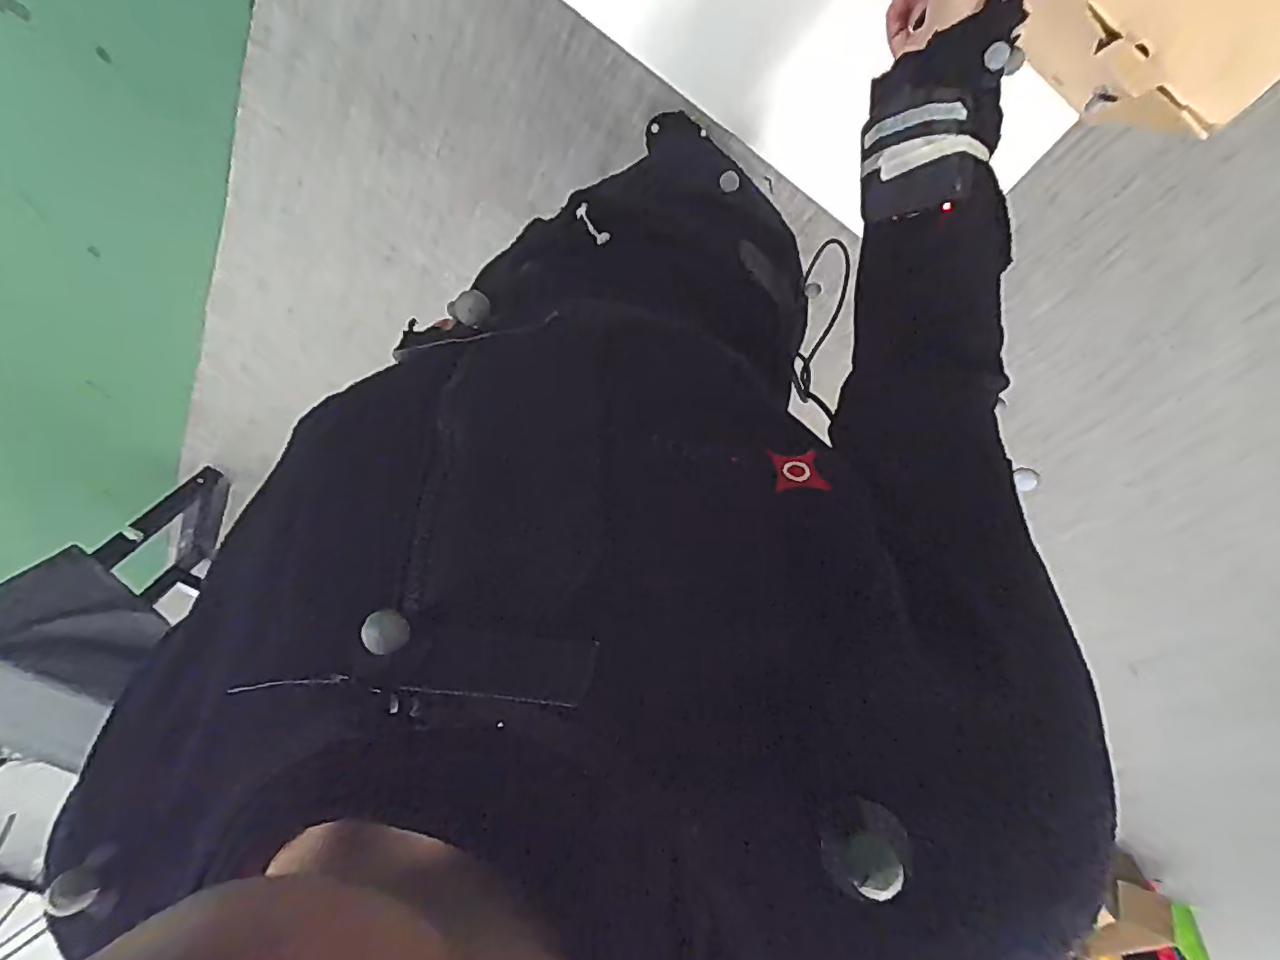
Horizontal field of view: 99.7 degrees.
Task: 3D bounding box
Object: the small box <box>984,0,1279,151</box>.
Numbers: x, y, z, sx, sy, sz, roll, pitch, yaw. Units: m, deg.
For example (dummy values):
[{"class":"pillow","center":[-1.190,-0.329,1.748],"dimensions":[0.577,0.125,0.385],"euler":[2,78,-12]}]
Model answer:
[{"class":"small box","center":[0.378,-0.369,0.373],"dimensions":[0.168,0.176,0.179],"euler":[30,125,-14]}]
